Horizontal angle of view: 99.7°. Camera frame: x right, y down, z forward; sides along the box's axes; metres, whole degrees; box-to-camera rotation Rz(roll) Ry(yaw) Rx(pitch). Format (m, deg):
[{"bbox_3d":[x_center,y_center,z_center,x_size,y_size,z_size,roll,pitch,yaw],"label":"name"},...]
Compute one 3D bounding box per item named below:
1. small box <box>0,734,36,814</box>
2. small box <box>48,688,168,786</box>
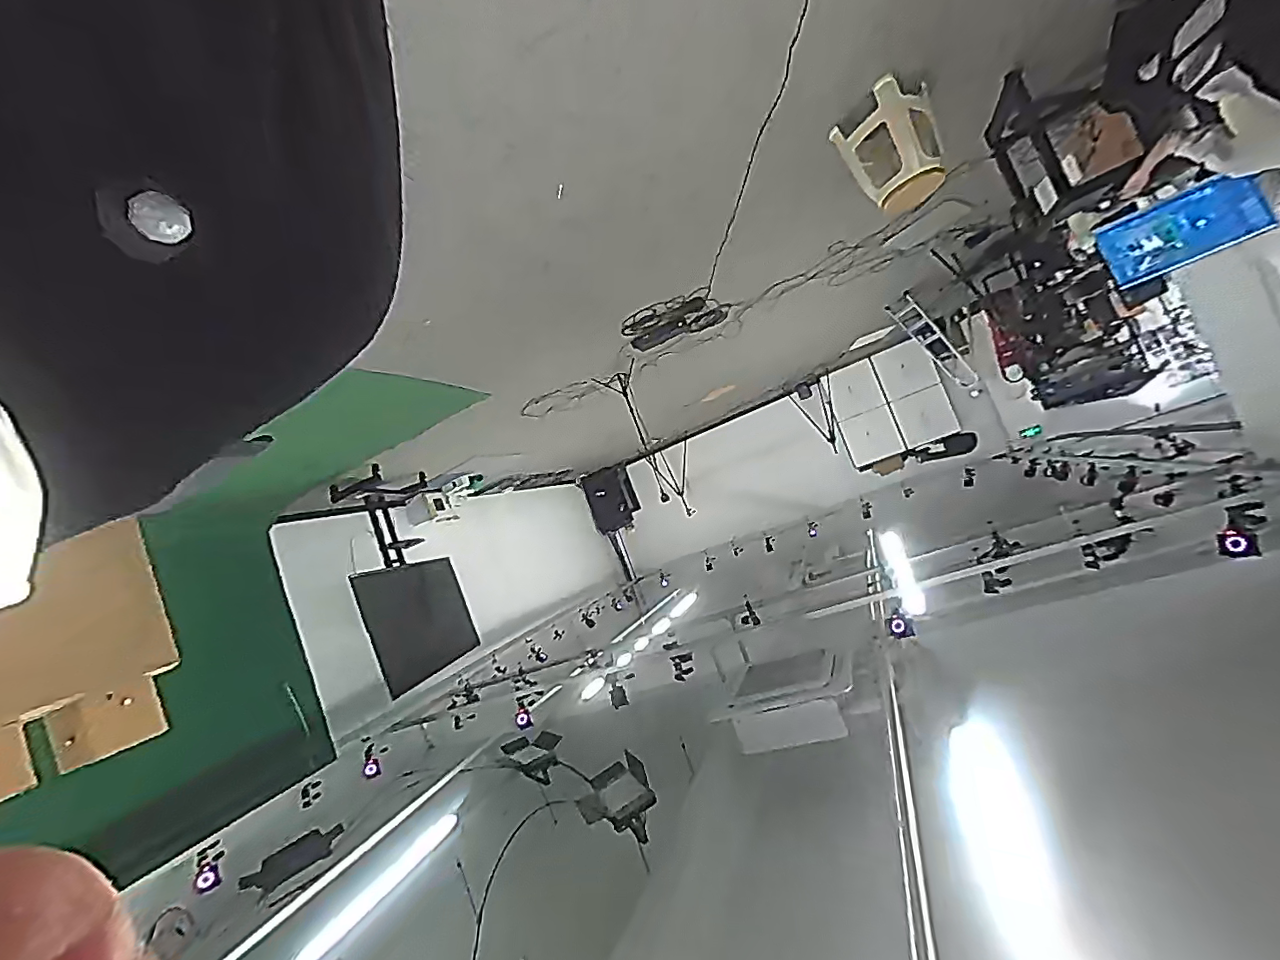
[{"bbox_3d":[-1.572,0.716,1.245,0.168,0.176,0.179,-27,171,17],"label":"small box"},{"bbox_3d":[-1.466,0.697,1.488,0.179,0.176,0.168,-26,174,16],"label":"small box"}]
